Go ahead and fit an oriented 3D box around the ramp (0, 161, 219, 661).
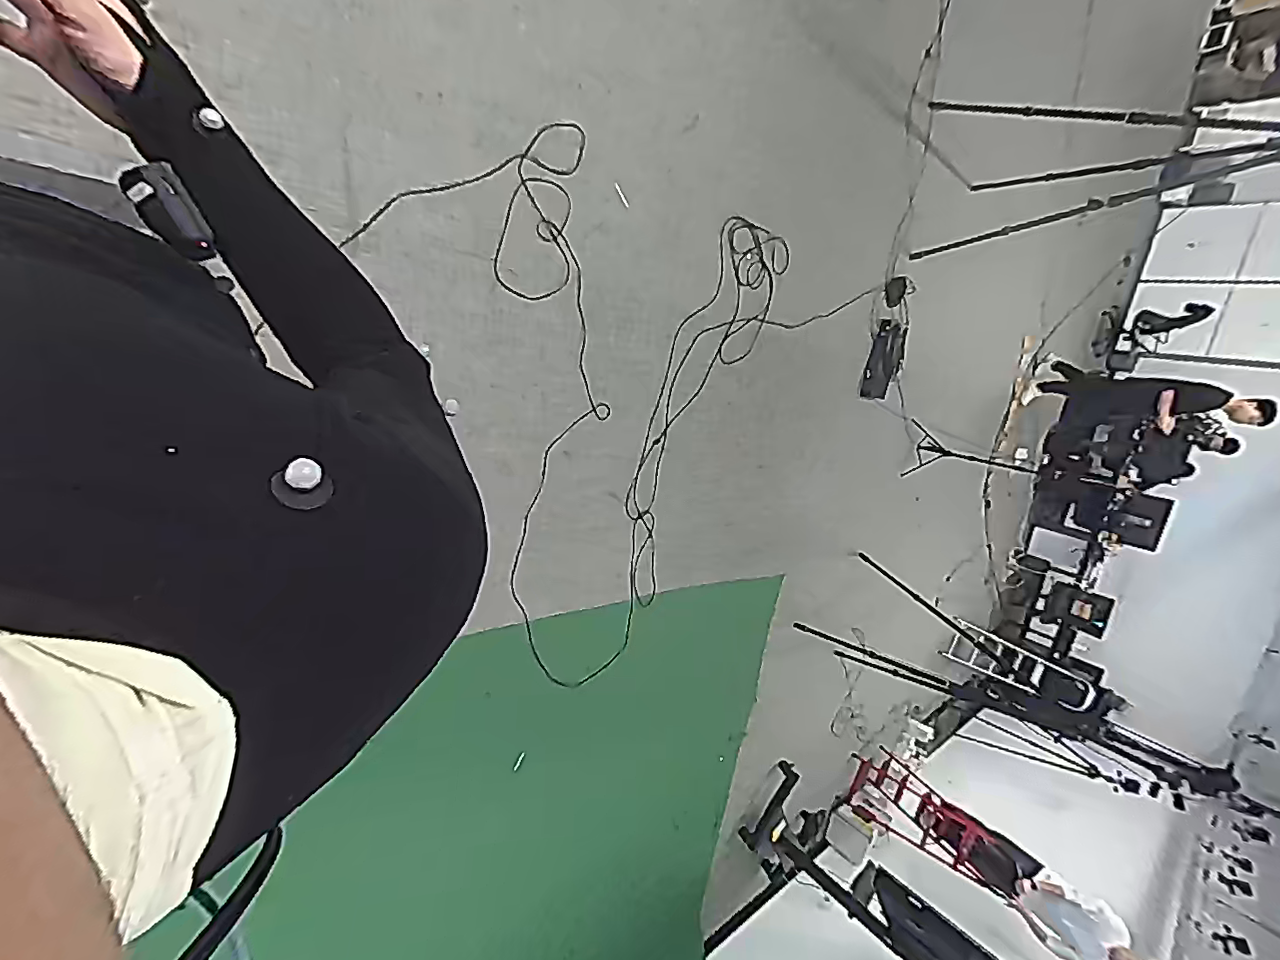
[{"bbox_3d":[-1.212,-0.128,1.138,0.509,0.206,0.991,-4,108,-39],"label":"ramp"}]
